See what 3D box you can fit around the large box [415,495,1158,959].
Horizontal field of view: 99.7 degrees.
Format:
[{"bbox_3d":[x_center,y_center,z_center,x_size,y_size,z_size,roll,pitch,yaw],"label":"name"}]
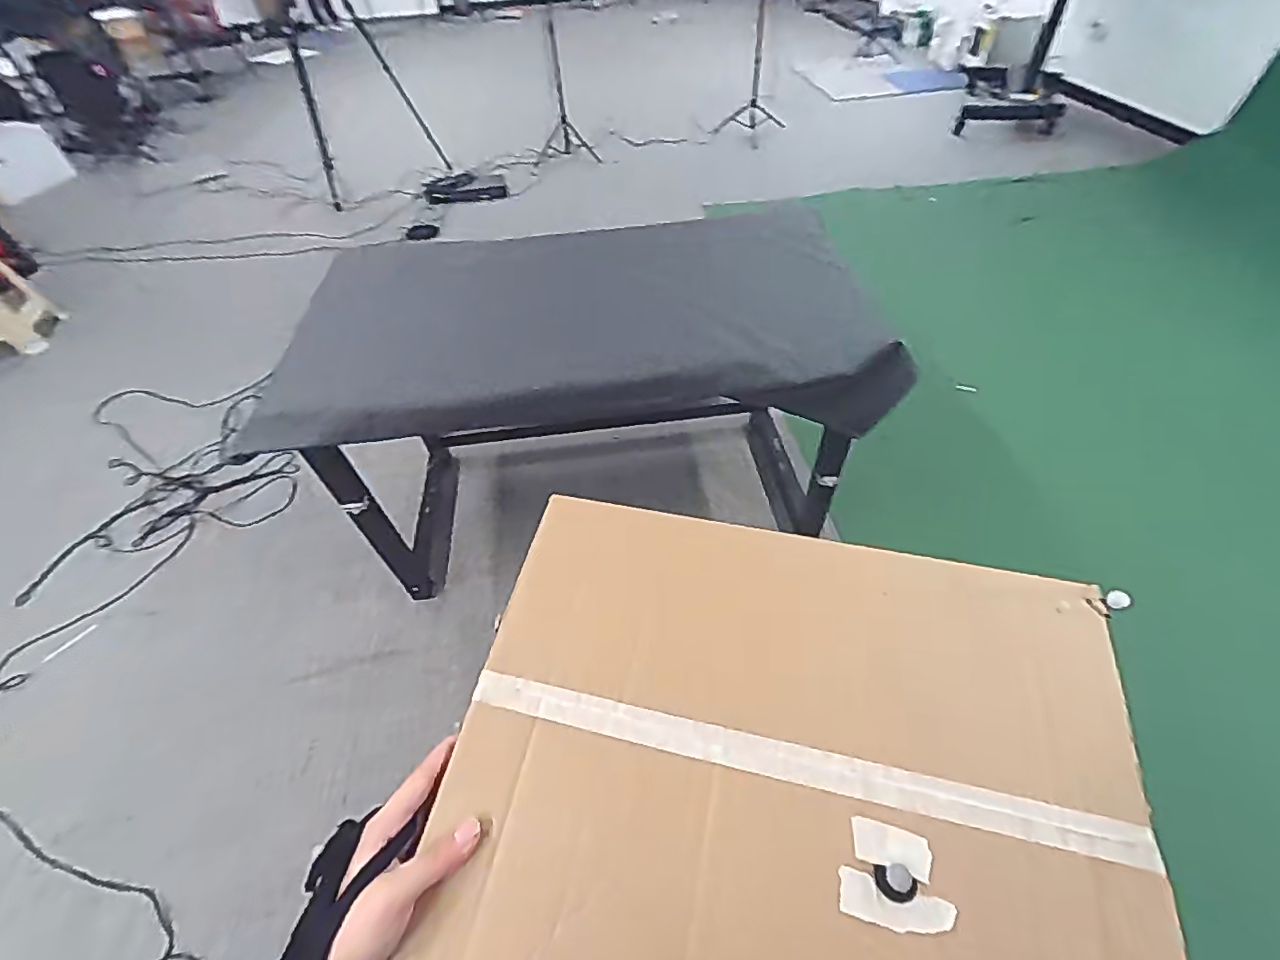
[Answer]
[{"bbox_3d":[0.101,0.244,0.478,0.408,0.320,0.320,9,60,10],"label":"large box"}]
